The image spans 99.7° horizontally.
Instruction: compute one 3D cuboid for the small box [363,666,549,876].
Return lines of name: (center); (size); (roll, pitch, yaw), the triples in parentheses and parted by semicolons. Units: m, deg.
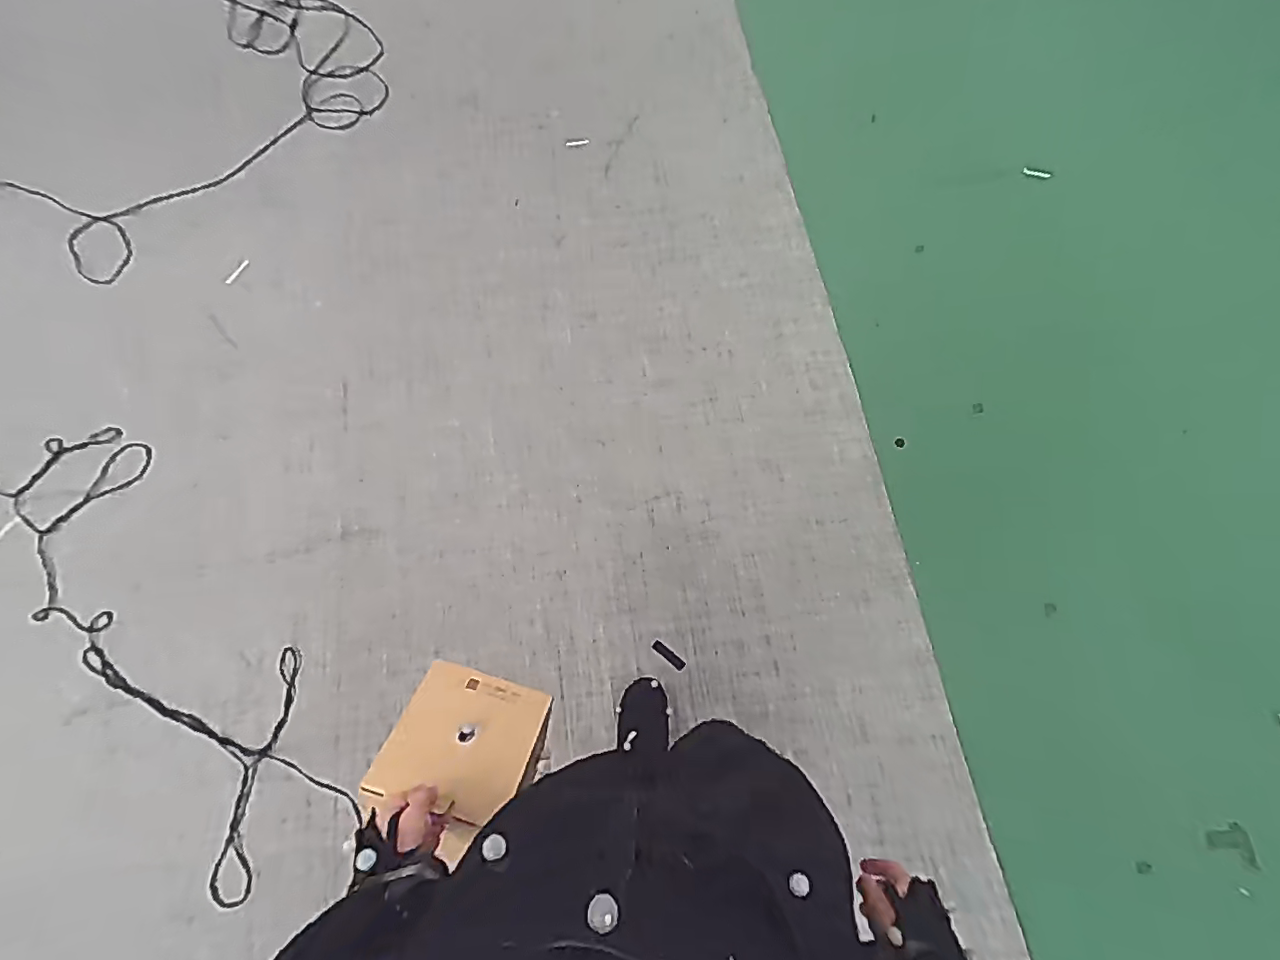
small box: (-0.226, 0.372, 0.703); (0.168, 0.179, 0.176); (16, 40, 2)
